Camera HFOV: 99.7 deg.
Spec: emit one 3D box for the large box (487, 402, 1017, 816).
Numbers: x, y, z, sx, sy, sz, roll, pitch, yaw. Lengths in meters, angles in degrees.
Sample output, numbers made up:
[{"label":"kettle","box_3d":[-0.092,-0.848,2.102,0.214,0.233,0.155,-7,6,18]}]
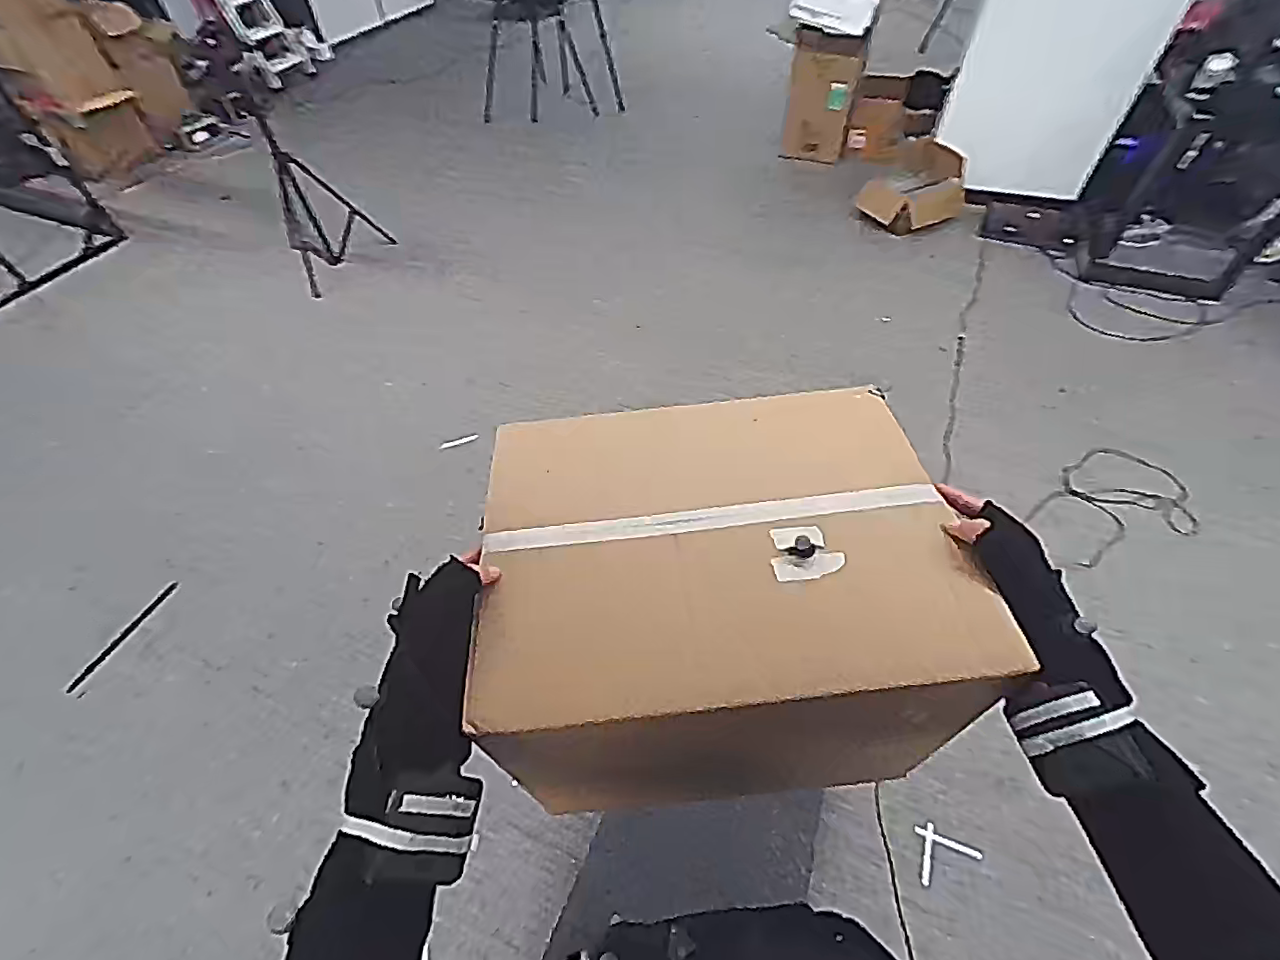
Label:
[{"label":"large box","box_3d":[0.078,0.146,0.603,0.408,0.320,0.320,-6,49,0]}]
